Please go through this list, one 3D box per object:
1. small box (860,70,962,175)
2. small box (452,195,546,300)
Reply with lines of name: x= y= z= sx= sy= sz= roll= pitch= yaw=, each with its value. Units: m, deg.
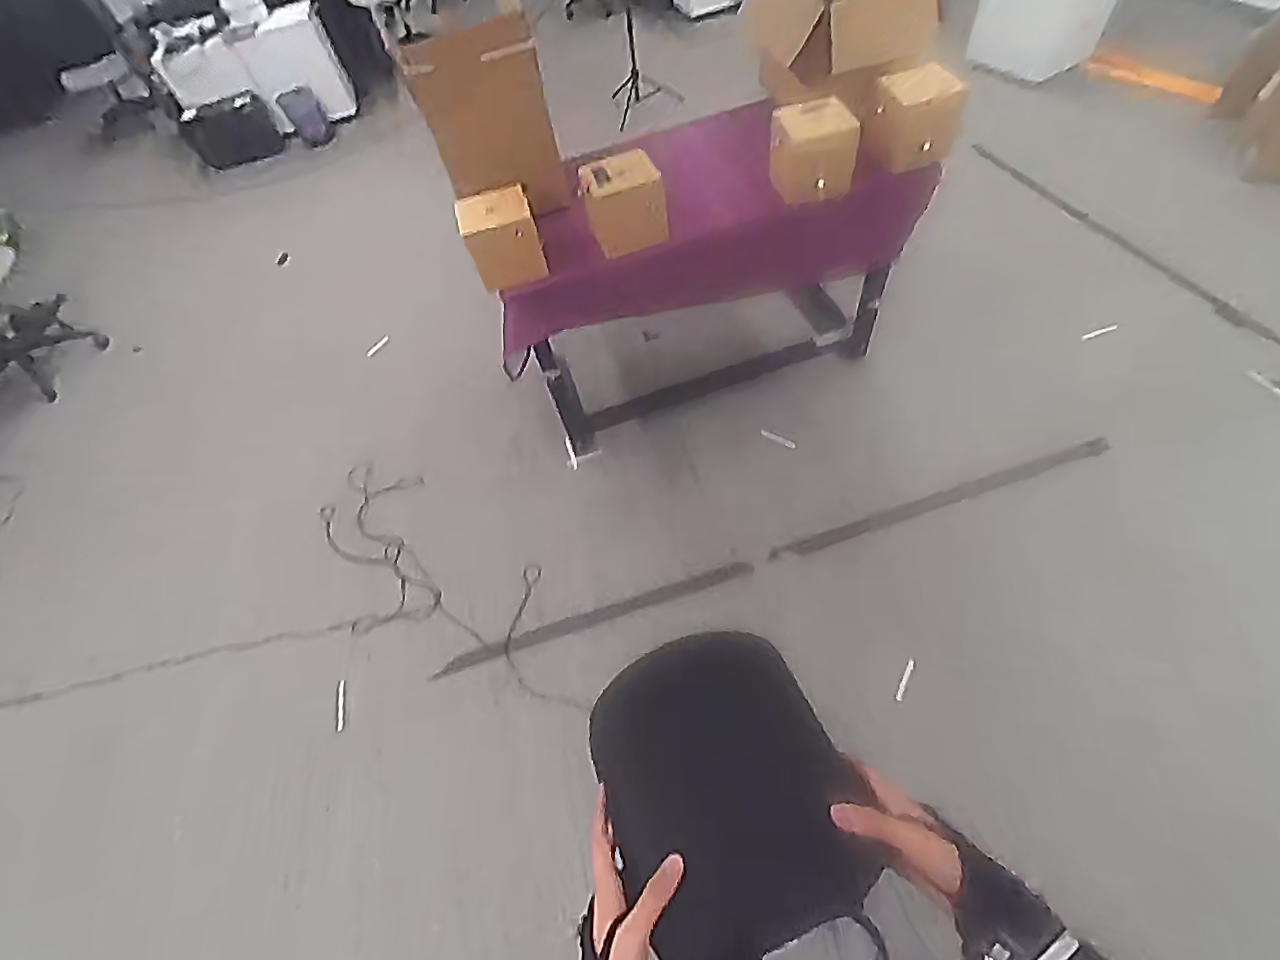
small box: x=0.709 y=-0.948 z=1.439 sx=0.168 sy=0.176 sz=0.179 roll=-15 pitch=55 yaw=1
small box: x=-0.359 y=-0.592 z=1.388 sx=0.179 sy=0.176 sz=0.168 roll=-18 pitch=55 yaw=-4
